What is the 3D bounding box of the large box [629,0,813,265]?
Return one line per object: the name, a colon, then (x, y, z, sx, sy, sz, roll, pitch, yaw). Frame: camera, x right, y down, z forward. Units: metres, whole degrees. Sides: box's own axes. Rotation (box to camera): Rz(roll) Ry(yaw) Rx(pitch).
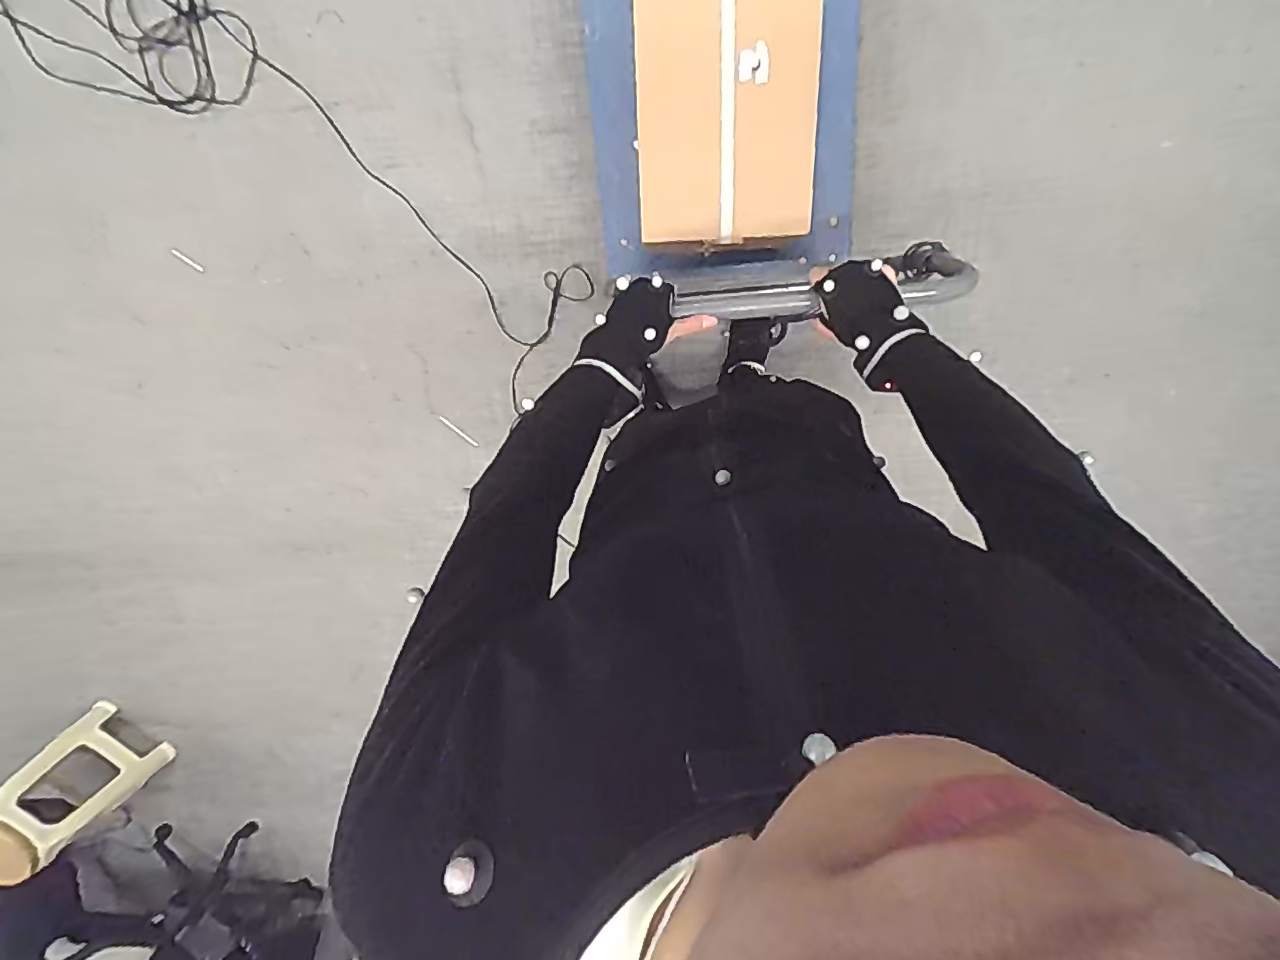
large box: (0.154, -0.671, 1.097, 0.320, 0.320, 0.408, -1, 108, 4)
